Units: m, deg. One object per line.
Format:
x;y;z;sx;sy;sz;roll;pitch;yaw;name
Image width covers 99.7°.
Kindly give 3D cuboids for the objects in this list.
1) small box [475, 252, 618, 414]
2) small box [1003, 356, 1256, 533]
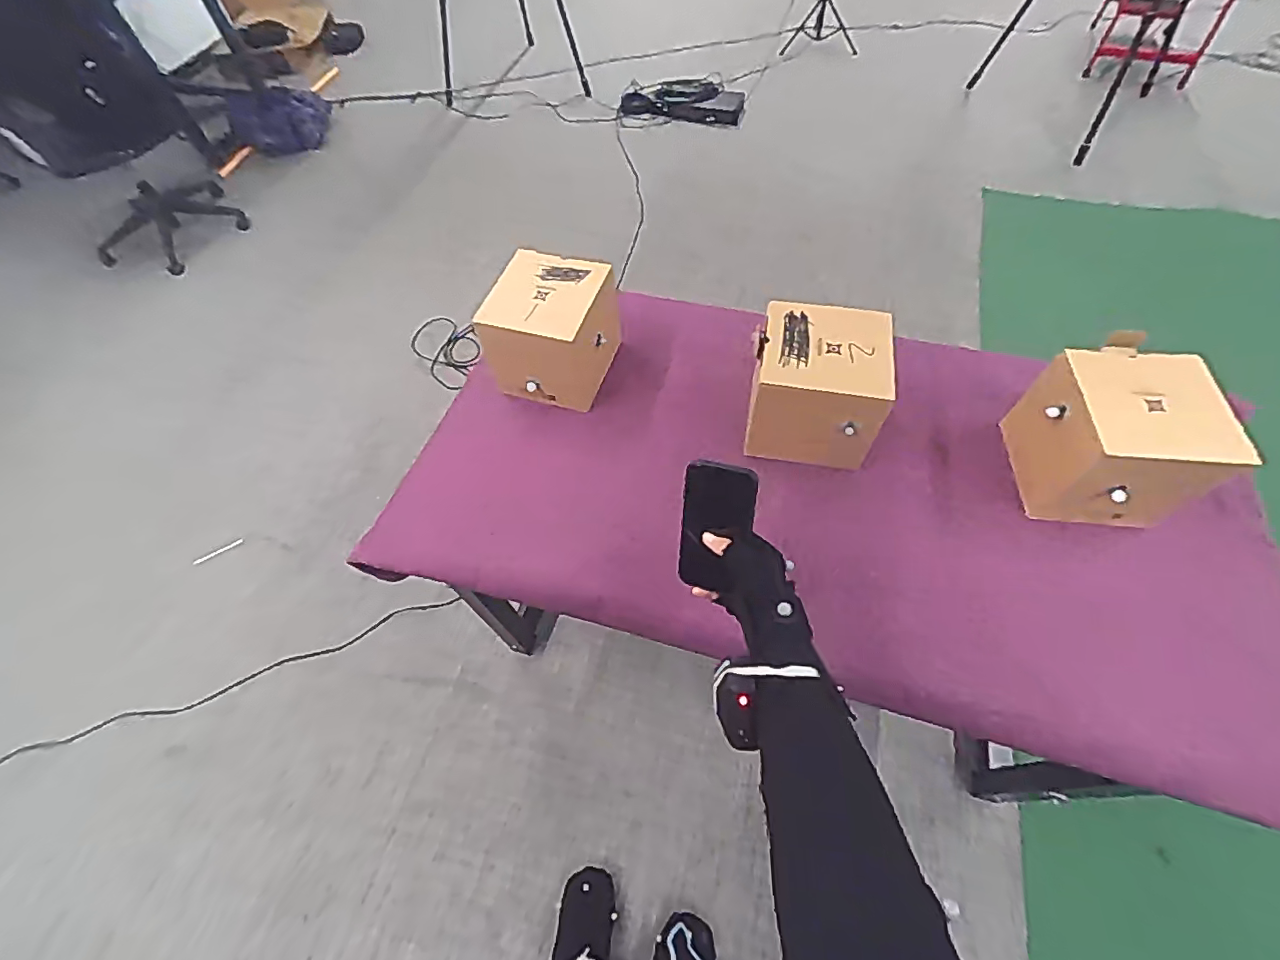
-0.141;-0.240;0.893;0.168;0.176;0.179;15;61;12;small box
0.633;-0.043;0.731;0.168;0.176;0.179;4;58;6;small box
